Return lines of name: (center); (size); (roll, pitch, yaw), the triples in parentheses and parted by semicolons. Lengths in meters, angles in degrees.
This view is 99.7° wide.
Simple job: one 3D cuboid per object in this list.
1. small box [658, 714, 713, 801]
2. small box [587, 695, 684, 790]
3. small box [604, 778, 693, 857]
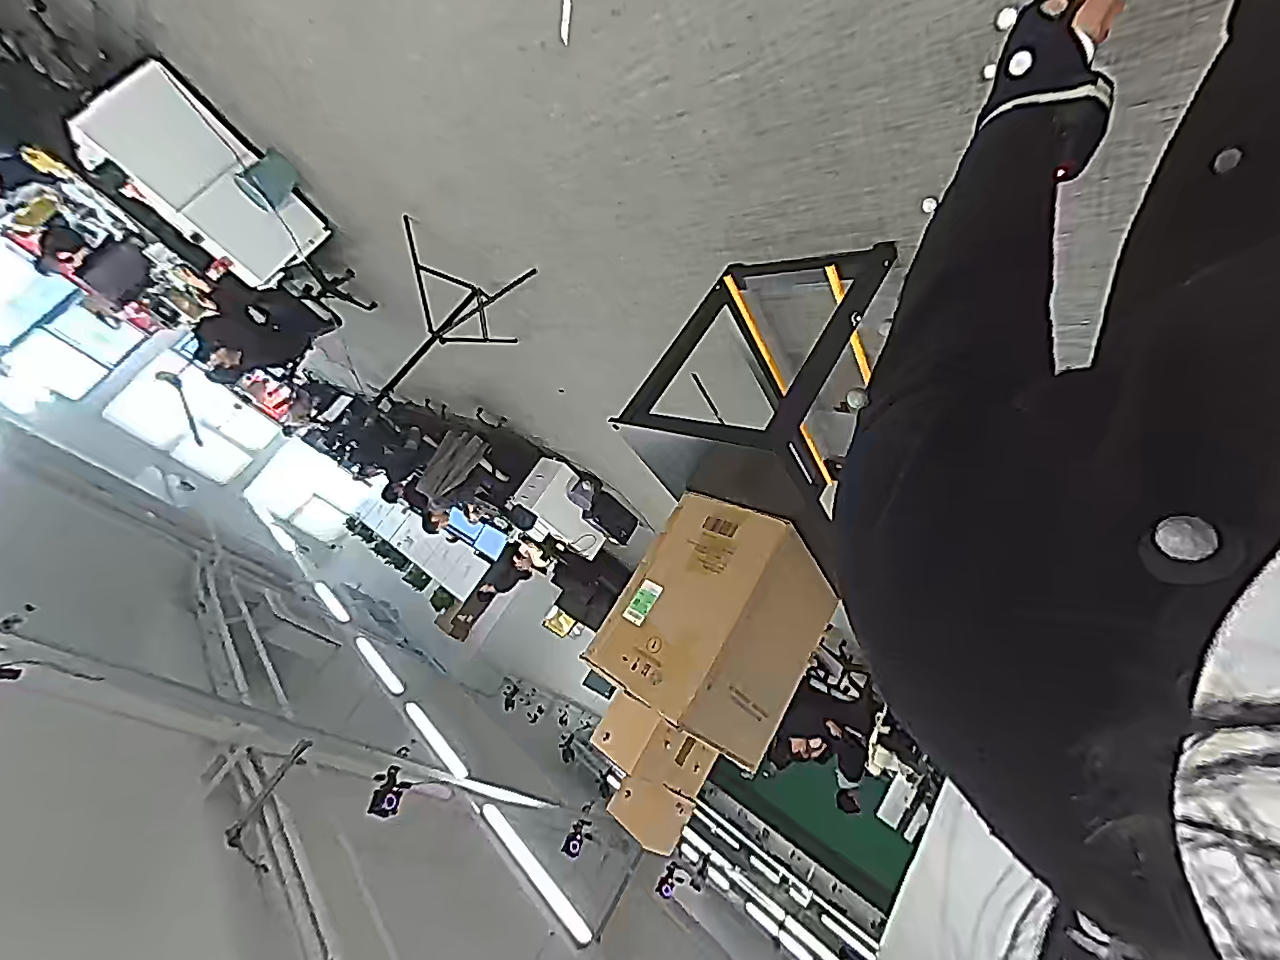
small box: (0.109, 0.878, 1.721); (0.179, 0.176, 0.168); (15, 154, 46)
small box: (-0.008, 0.728, 1.522); (0.179, 0.176, 0.168); (15, 157, 45)
small box: (0.031, 1.010, 1.664); (0.179, 0.176, 0.168); (15, 155, 47)
